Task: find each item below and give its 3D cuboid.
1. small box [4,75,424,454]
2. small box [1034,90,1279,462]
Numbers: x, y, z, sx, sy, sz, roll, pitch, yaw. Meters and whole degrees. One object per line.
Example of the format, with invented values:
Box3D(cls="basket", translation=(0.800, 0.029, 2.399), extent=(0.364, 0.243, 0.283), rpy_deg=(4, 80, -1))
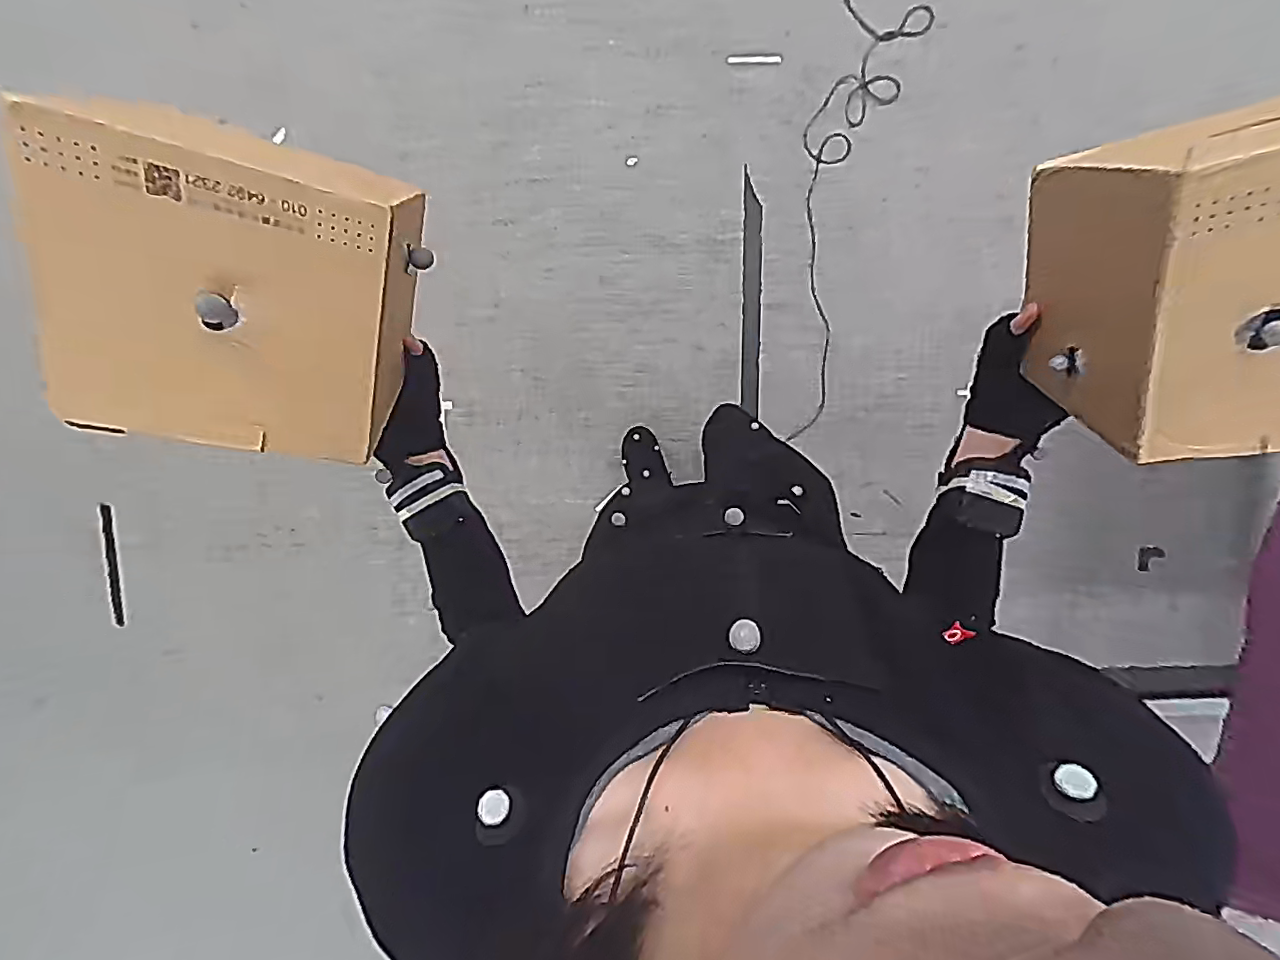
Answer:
Box3D(cls="small box", translation=(-0.248, -0.139, 0.361), extent=(0.168, 0.179, 0.176), rpy_deg=(10, 116, -19))
Box3D(cls="small box", translation=(0.371, -0.132, 0.328), extent=(0.168, 0.179, 0.176), rpy_deg=(-6, 118, 17))
